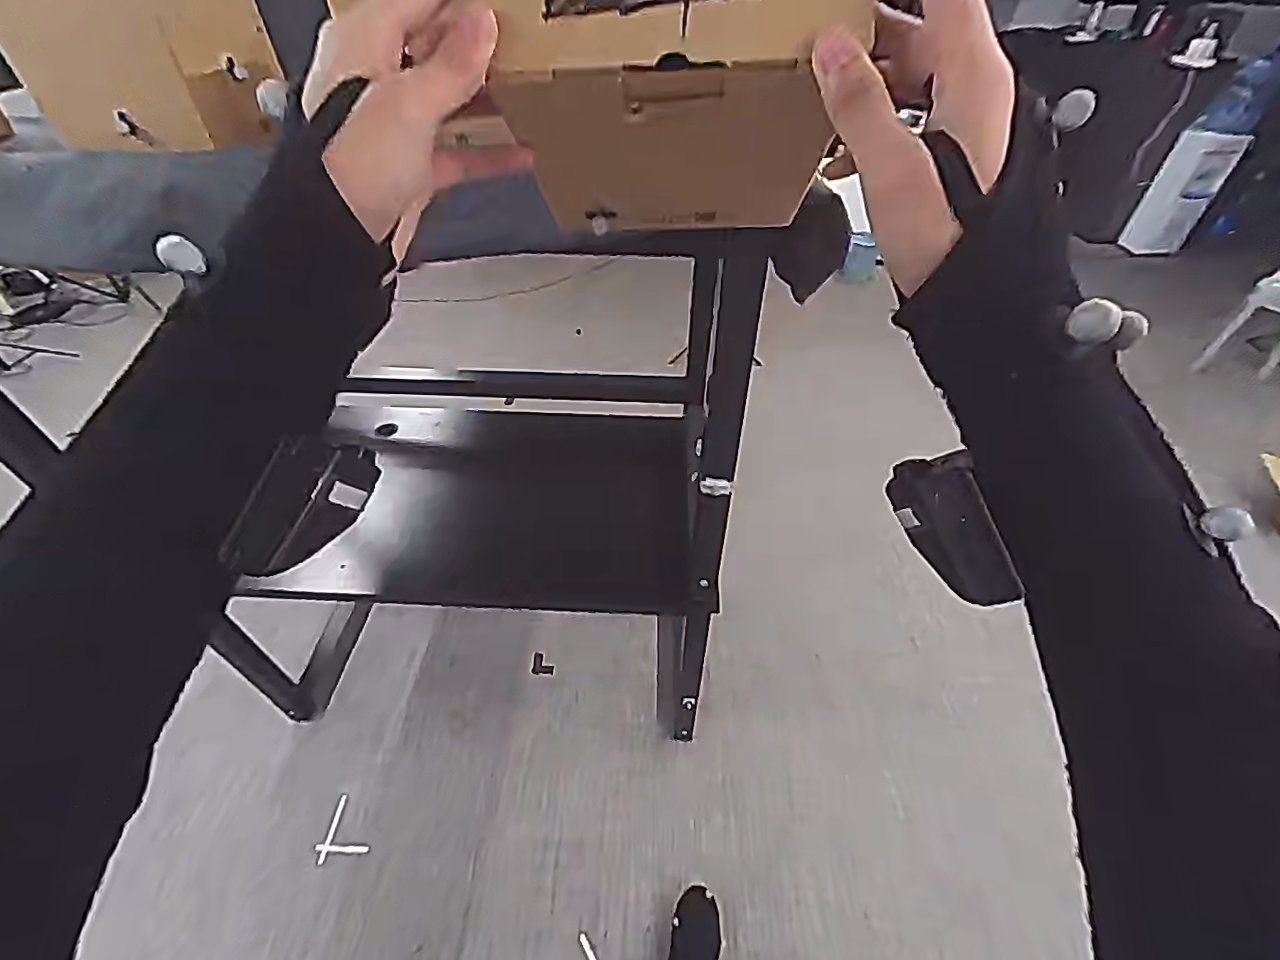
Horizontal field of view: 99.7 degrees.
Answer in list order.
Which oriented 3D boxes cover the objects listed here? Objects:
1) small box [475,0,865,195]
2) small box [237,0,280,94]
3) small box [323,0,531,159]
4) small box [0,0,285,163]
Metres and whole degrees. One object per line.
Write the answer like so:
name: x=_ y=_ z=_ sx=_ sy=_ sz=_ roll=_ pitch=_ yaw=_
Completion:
small box: x=0.018 y=-0.276 z=0.296 sx=0.168 sy=0.179 sz=0.176 roll=0 pitch=2 yaw=3
small box: x=-0.688 y=-0.673 z=0.818 sx=0.168 sy=0.176 sz=0.179 roll=-4 pitch=44 yaw=-2
small box: x=-0.221 y=-0.479 z=0.617 sx=0.168 sy=0.176 sz=0.179 roll=0 pitch=43 yaw=0
small box: x=-0.545 y=-0.465 z=0.602 sx=0.179 sy=0.176 sz=0.168 roll=1 pitch=43 yaw=0
